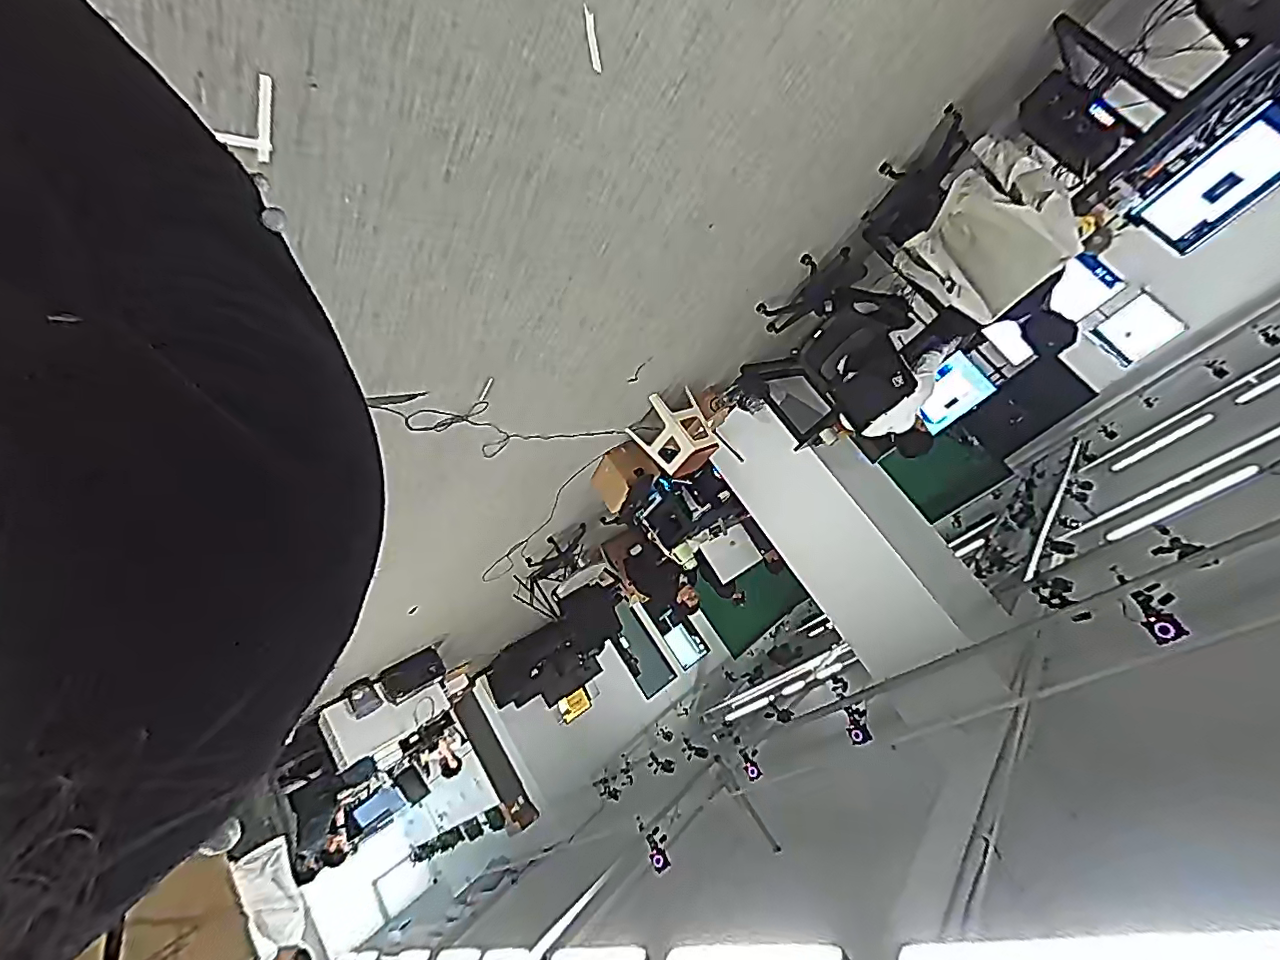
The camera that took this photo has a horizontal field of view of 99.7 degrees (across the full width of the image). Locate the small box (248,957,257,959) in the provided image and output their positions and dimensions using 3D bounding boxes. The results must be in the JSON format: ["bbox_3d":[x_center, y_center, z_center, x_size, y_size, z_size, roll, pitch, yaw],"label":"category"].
[{"bbox_3d":[-1.257,1.625,1.671,0.168,0.176,0.179,-21,159,-43],"label":"small box"}]
